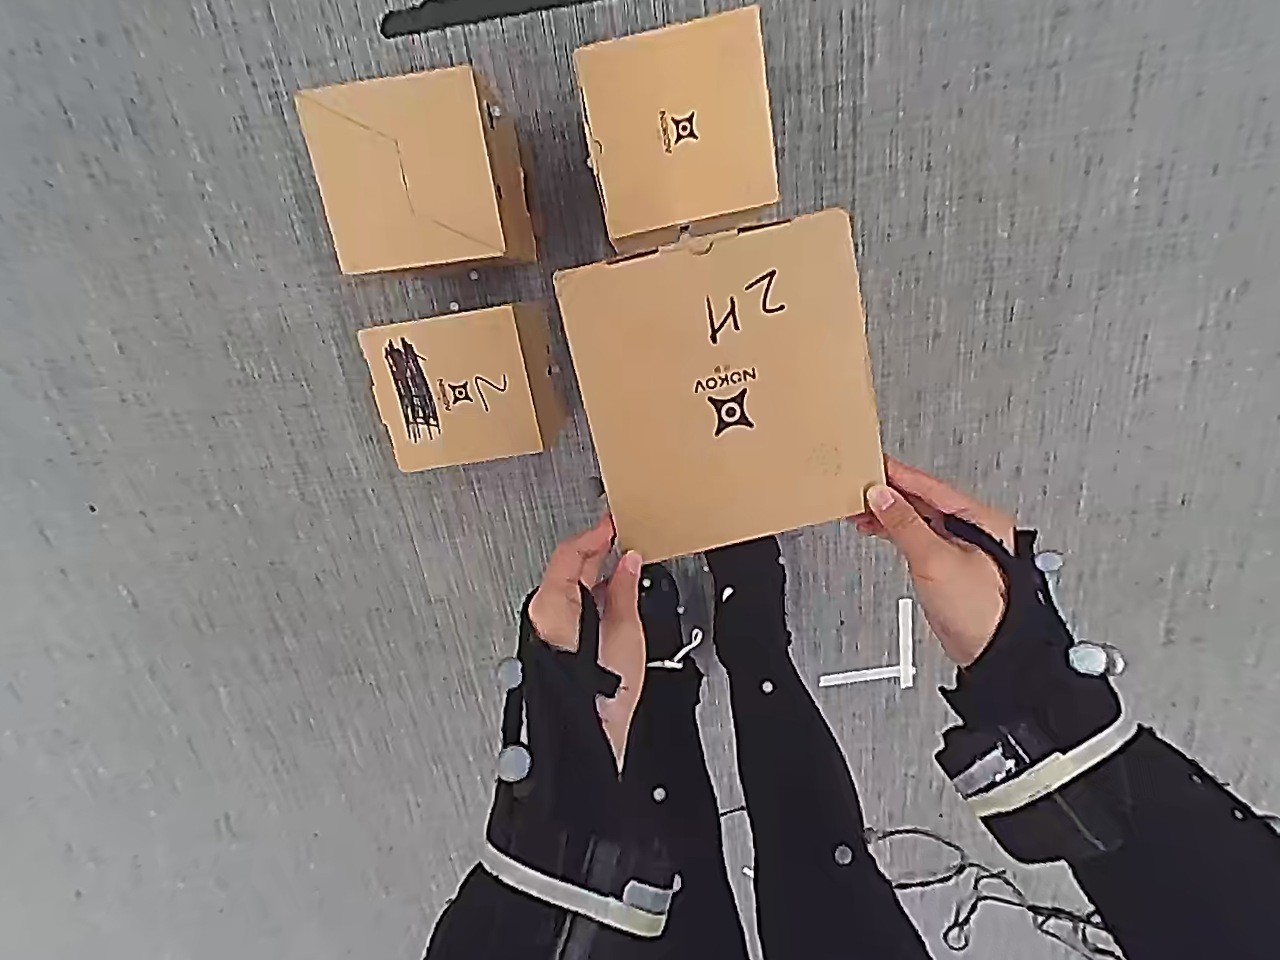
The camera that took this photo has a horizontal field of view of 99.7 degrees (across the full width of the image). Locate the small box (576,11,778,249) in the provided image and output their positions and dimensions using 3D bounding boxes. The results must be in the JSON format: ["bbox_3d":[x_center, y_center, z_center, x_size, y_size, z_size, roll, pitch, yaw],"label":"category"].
[{"bbox_3d":[0.040,-0.361,0.595,0.179,0.176,0.168,-11,109,5],"label":"small box"}]

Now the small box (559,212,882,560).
[{"bbox_3d":[0.049,-0.065,0.392,0.168,0.176,0.179,-13,101,0],"label":"small box"}]

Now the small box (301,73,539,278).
[{"bbox_3d":[-0.227,-0.324,0.605,0.179,0.176,0.168,-6,108,3],"label":"small box"}]
